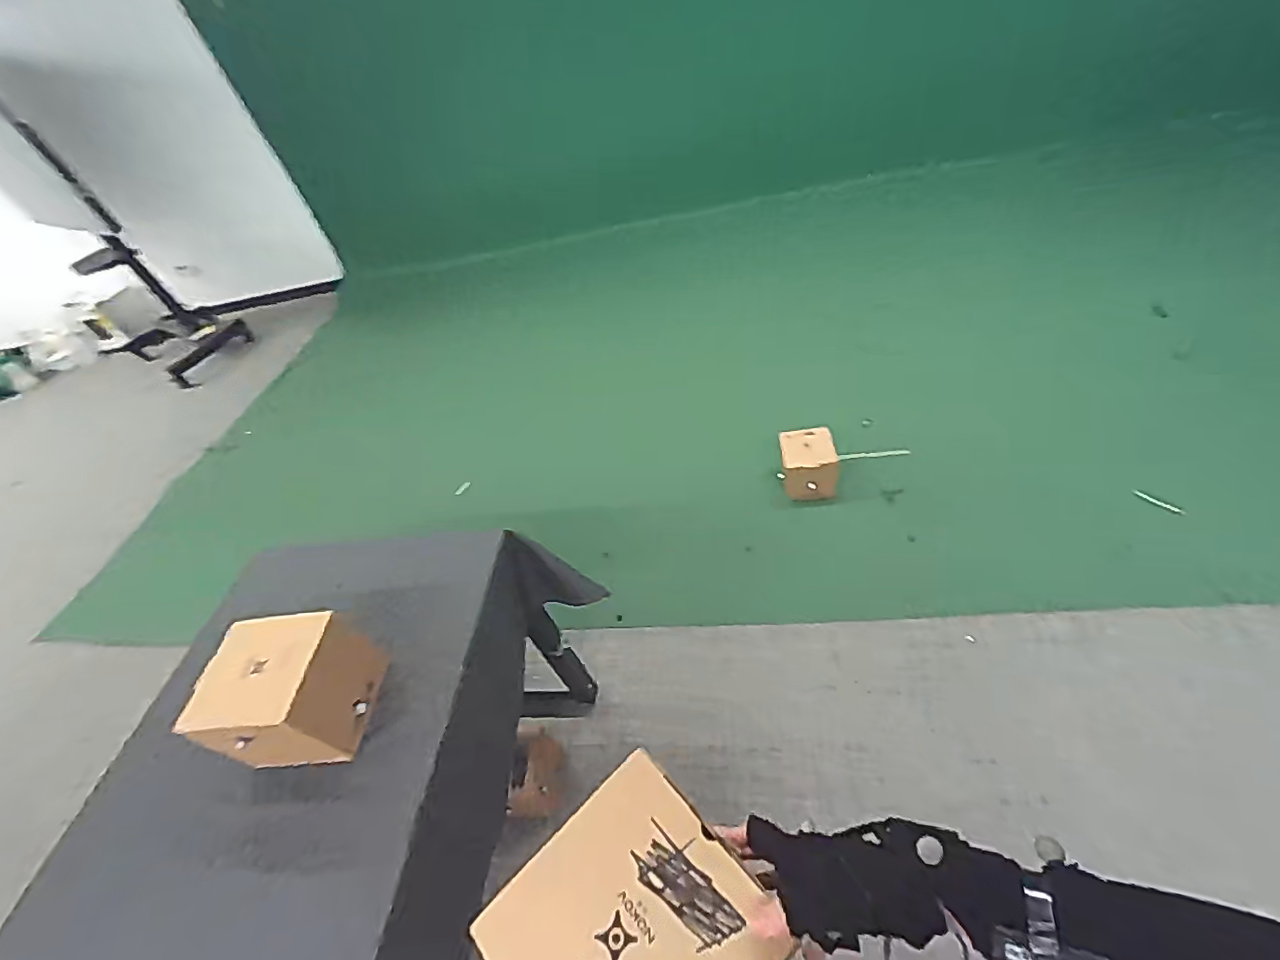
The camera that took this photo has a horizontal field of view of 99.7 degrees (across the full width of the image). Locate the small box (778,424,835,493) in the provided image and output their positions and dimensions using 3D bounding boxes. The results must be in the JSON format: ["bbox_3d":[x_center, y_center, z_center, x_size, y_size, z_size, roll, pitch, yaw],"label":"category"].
[{"bbox_3d":[0.575,-0.067,1.870,0.168,0.176,0.179,-6,47,12],"label":"small box"}]

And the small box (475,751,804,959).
[{"bbox_3d":[0.008,0.363,0.432,0.179,0.176,0.168,-39,50,-18],"label":"small box"}]

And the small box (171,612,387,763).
[{"bbox_3d":[-0.529,0.320,0.822,0.179,0.176,0.168,-8,47,10],"label":"small box"}]
